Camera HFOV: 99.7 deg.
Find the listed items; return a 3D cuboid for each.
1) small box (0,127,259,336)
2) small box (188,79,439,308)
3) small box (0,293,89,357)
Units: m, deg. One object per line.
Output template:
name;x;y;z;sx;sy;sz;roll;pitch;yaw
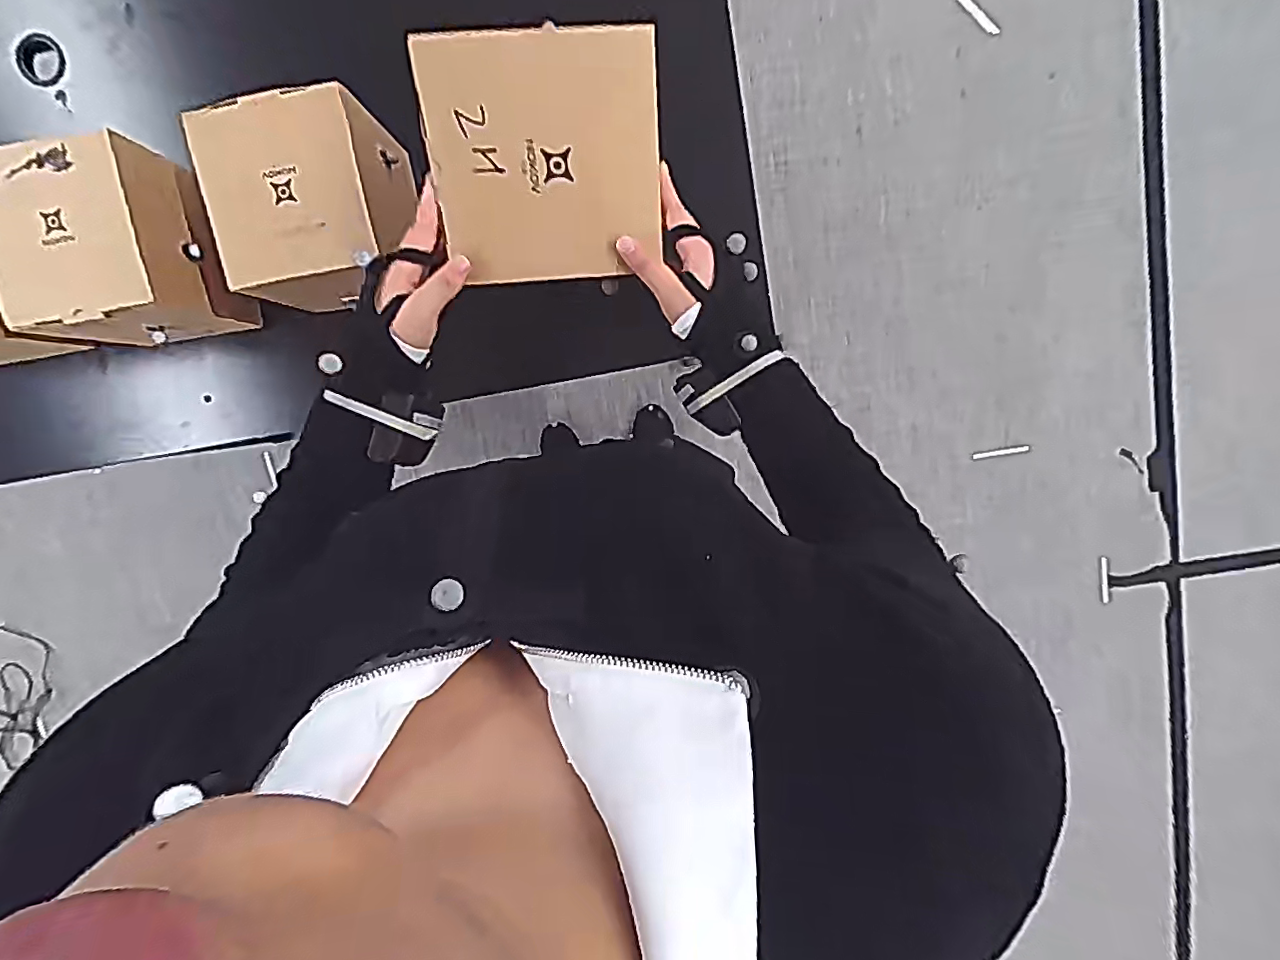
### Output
small box;-0.593;-0.270;0.633;0.168;0.176;0.179;-10;99;0
small box;-0.358;-0.314;0.631;0.168;0.176;0.179;-11;100;2
small box;-0.823;-0.239;0.634;0.179;0.176;0.168;-10;99;0
